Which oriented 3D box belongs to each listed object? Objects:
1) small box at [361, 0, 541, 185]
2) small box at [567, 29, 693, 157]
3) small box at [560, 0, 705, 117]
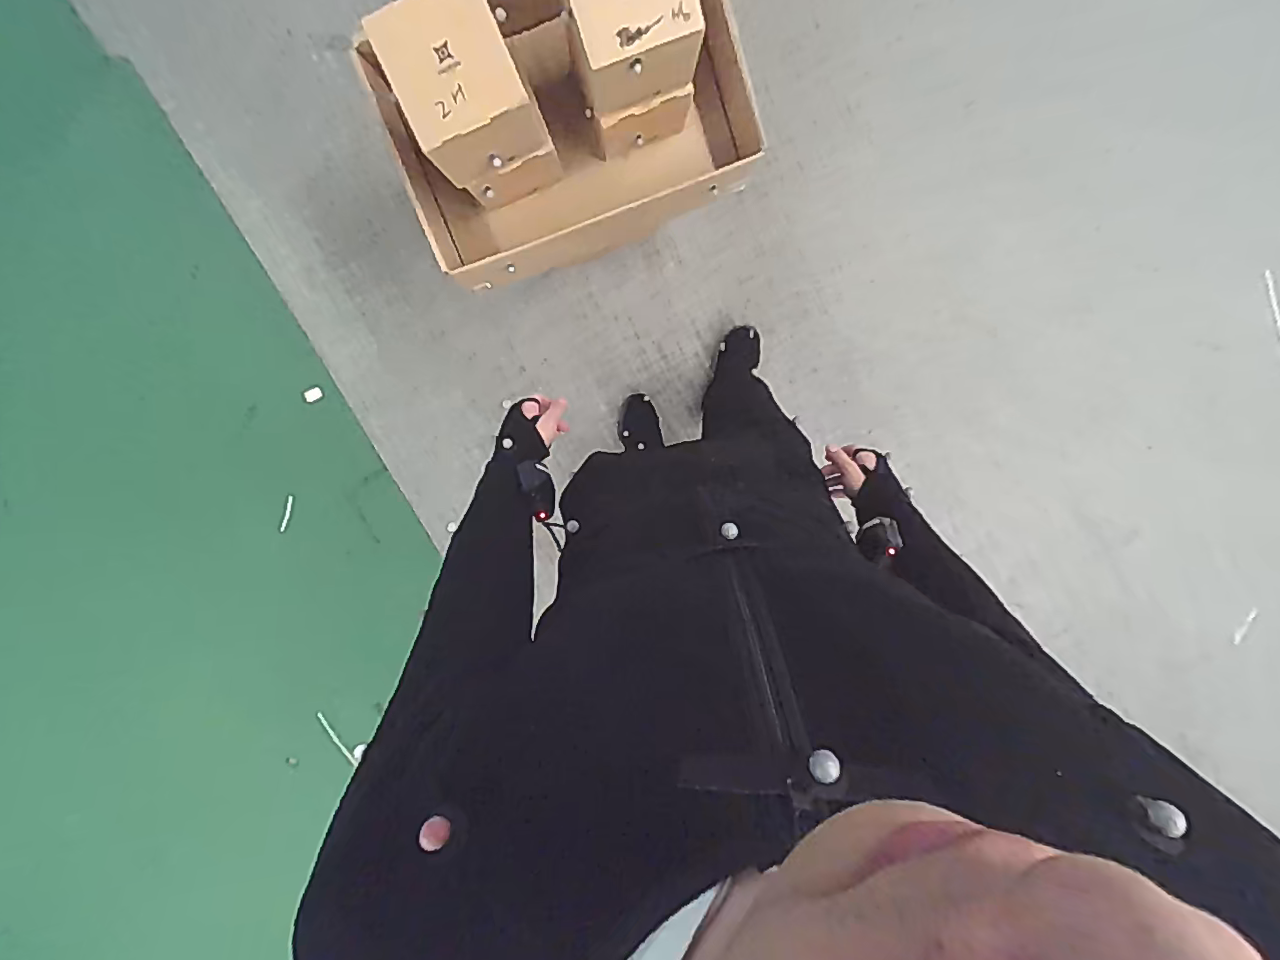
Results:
[{"bbox_3d":[-0.262,-0.574,0.796,0.168,0.176,0.179,-23,104,4],"label":"small box"},{"bbox_3d":[-0.022,-0.707,0.945,0.168,0.176,0.179,-20,105,3],"label":"small box"},{"bbox_3d":[-0.019,-0.674,0.784,0.168,0.176,0.179,-18,104,2],"label":"small box"}]
